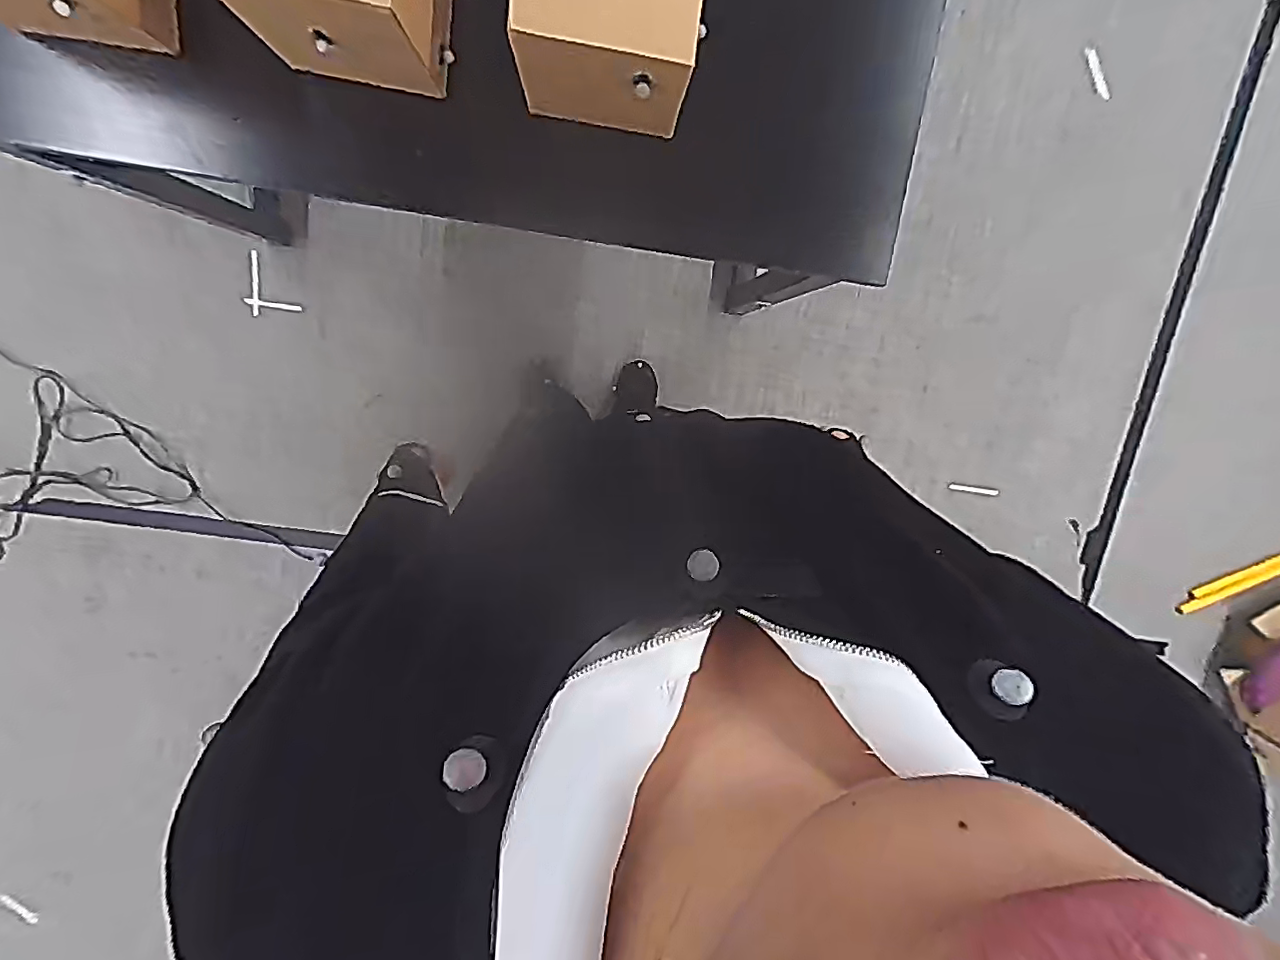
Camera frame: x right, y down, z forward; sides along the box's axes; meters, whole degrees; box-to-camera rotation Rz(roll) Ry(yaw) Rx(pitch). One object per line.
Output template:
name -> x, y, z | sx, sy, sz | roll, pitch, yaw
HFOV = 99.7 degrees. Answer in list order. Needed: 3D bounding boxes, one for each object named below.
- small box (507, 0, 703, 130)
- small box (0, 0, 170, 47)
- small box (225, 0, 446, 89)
small box -> -0.030, -0.494, 0.561 | 0.179, 0.176, 0.168 | 7, 101, -5
small box -> -0.590, -0.552, 0.510 | 0.179, 0.176, 0.168 | 4, 101, -5
small box -> -0.298, -0.526, 0.535 | 0.179, 0.176, 0.168 | 8, 101, -5
